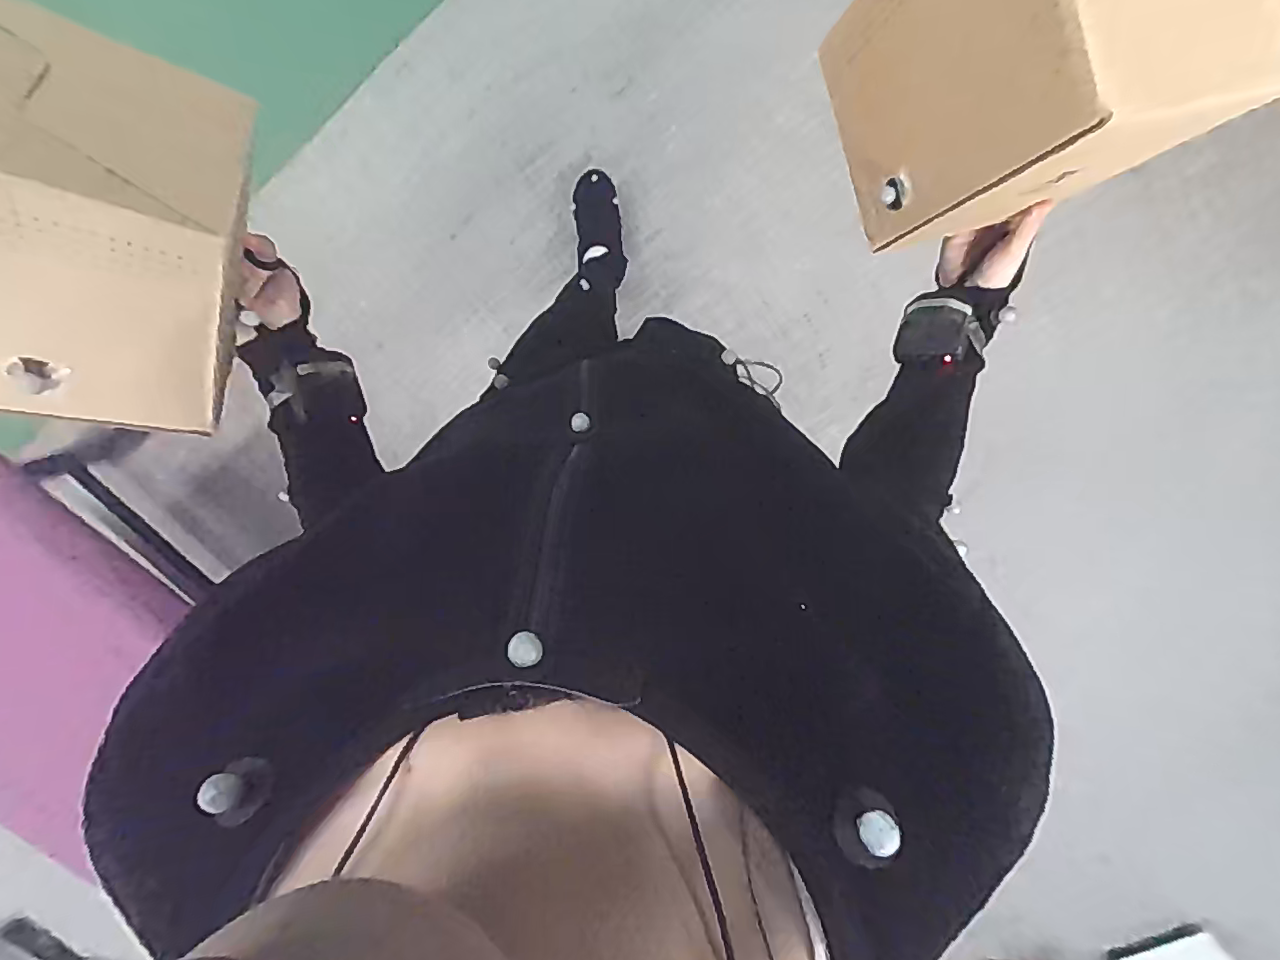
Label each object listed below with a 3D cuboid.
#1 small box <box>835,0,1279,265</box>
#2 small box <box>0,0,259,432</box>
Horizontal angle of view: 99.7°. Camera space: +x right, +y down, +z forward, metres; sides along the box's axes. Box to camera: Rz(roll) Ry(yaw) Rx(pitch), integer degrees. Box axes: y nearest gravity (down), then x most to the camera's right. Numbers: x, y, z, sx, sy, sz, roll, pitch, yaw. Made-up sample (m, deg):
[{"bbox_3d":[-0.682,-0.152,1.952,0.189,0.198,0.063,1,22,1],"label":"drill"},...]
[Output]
[{"bbox_3d":[0.258,-0.271,0.359,0.168,0.179,0.176,-17,97,-14],"label":"small box"},{"bbox_3d":[-0.341,-0.154,0.322,0.179,0.168,0.176,8,139,-36],"label":"small box"}]
